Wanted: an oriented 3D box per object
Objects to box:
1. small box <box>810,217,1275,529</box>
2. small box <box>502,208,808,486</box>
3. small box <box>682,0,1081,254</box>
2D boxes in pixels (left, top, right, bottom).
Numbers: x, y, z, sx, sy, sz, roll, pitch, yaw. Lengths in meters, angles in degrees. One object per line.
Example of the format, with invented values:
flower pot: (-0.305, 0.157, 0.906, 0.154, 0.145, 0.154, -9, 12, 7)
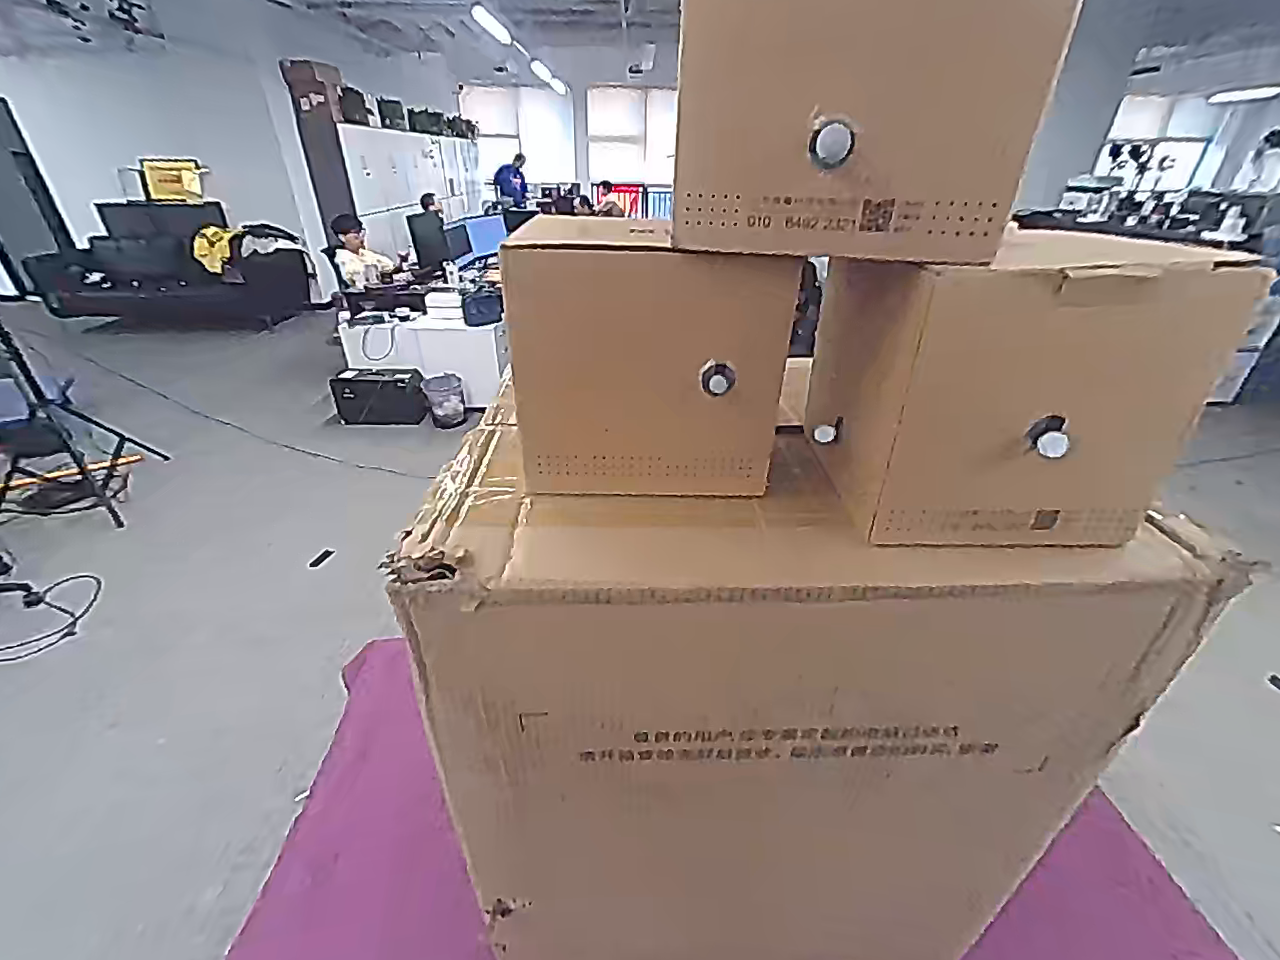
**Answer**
small box: (0.227, -0.078, 0.372, 0.168, 0.176, 0.179, 0, 30, 1)
small box: (0.007, -0.104, 0.410, 0.179, 0.176, 0.168, 0, 30, -2)
small box: (0.118, -0.233, 0.310, 0.168, 0.176, 0.179, 7, 31, 10)
